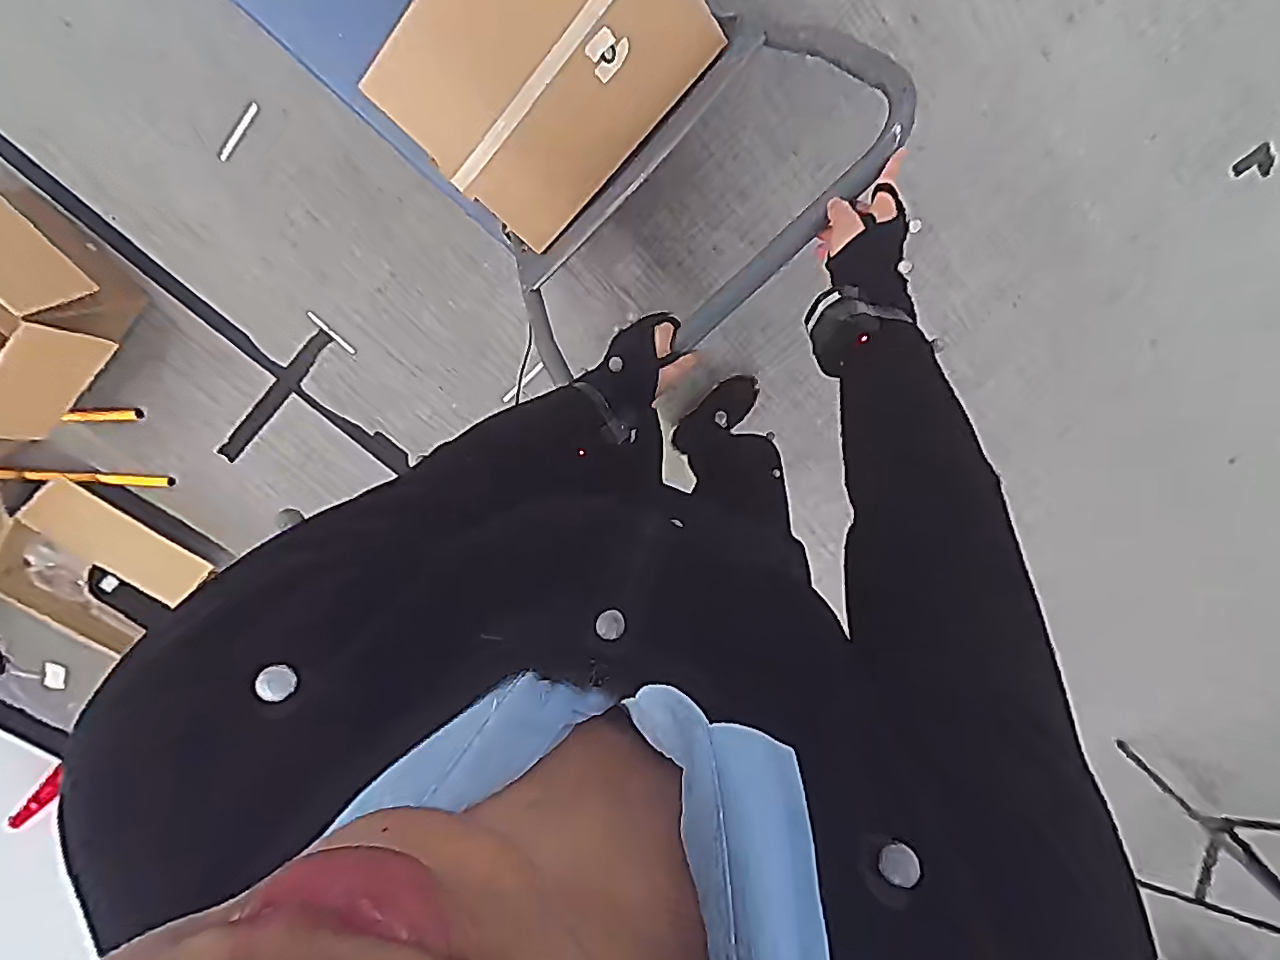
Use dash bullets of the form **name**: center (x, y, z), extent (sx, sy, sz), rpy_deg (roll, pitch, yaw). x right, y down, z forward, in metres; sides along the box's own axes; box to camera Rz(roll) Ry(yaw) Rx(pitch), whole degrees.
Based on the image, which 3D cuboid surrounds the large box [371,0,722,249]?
- **large box**: center (-0.154, -0.663, 0.854), extent (0.408, 0.320, 0.320), rpy_deg (-42, 128, 18)
